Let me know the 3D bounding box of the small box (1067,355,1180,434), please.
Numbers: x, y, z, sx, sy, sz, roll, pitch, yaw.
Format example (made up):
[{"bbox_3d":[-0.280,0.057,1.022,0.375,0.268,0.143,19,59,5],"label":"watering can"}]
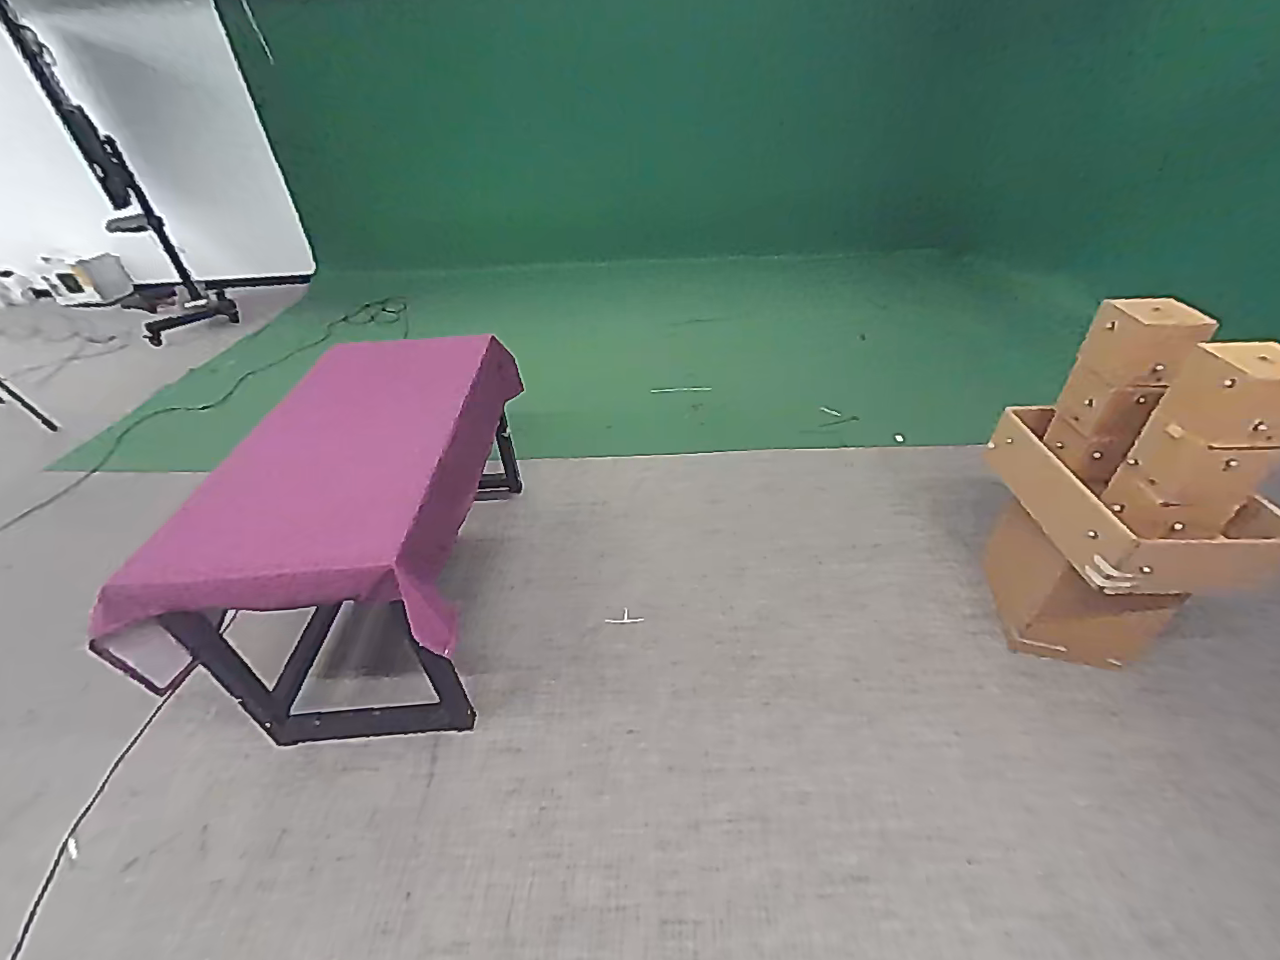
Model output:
[{"bbox_3d":[1.331,-0.238,1.497,0.179,0.176,0.168,-1,38,4],"label":"small box"}]

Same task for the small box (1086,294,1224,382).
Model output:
[{"bbox_3d":[1.313,-0.369,1.398,0.168,0.176,0.179,0,38,7],"label":"small box"}]

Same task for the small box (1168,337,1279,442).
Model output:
[{"bbox_3d":[1.325,-0.197,1.174,0.168,0.176,0.179,-1,38,6],"label":"small box"}]

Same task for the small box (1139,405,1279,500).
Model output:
[{"bbox_3d":[1.333,-0.065,1.268,0.179,0.176,0.168,0,37,6],"label":"small box"}]
